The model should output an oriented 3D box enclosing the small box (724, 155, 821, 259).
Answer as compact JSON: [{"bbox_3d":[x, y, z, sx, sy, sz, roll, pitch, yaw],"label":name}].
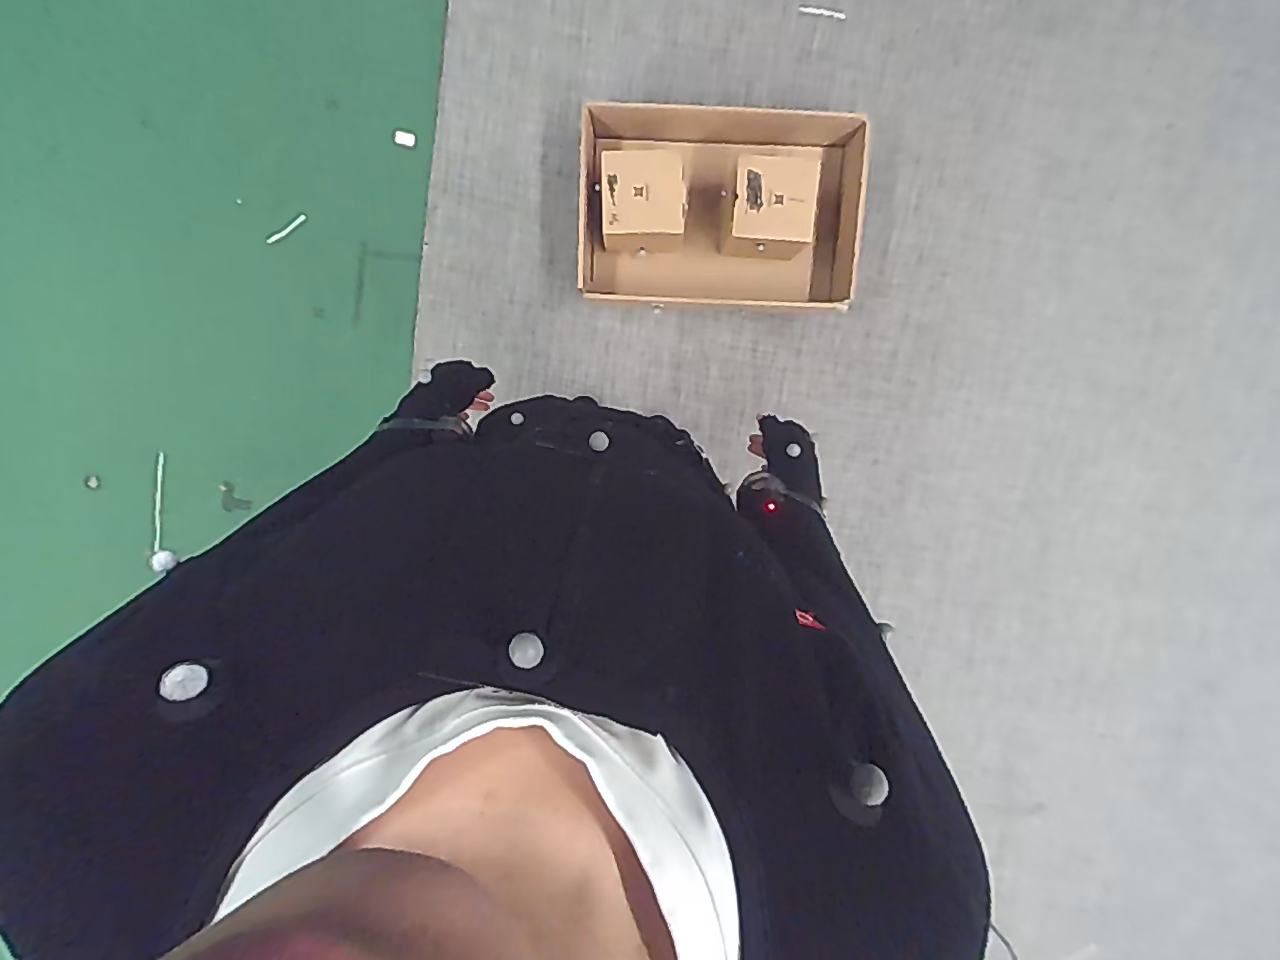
[{"bbox_3d":[0.291,-0.610,1.225,0.179,0.176,0.168,4,100,0],"label":"small box"}]

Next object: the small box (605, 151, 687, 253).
[{"bbox_3d":[0.010,-0.621,1.225,0.179,0.176,0.168,0,99,-1],"label":"small box"}]
